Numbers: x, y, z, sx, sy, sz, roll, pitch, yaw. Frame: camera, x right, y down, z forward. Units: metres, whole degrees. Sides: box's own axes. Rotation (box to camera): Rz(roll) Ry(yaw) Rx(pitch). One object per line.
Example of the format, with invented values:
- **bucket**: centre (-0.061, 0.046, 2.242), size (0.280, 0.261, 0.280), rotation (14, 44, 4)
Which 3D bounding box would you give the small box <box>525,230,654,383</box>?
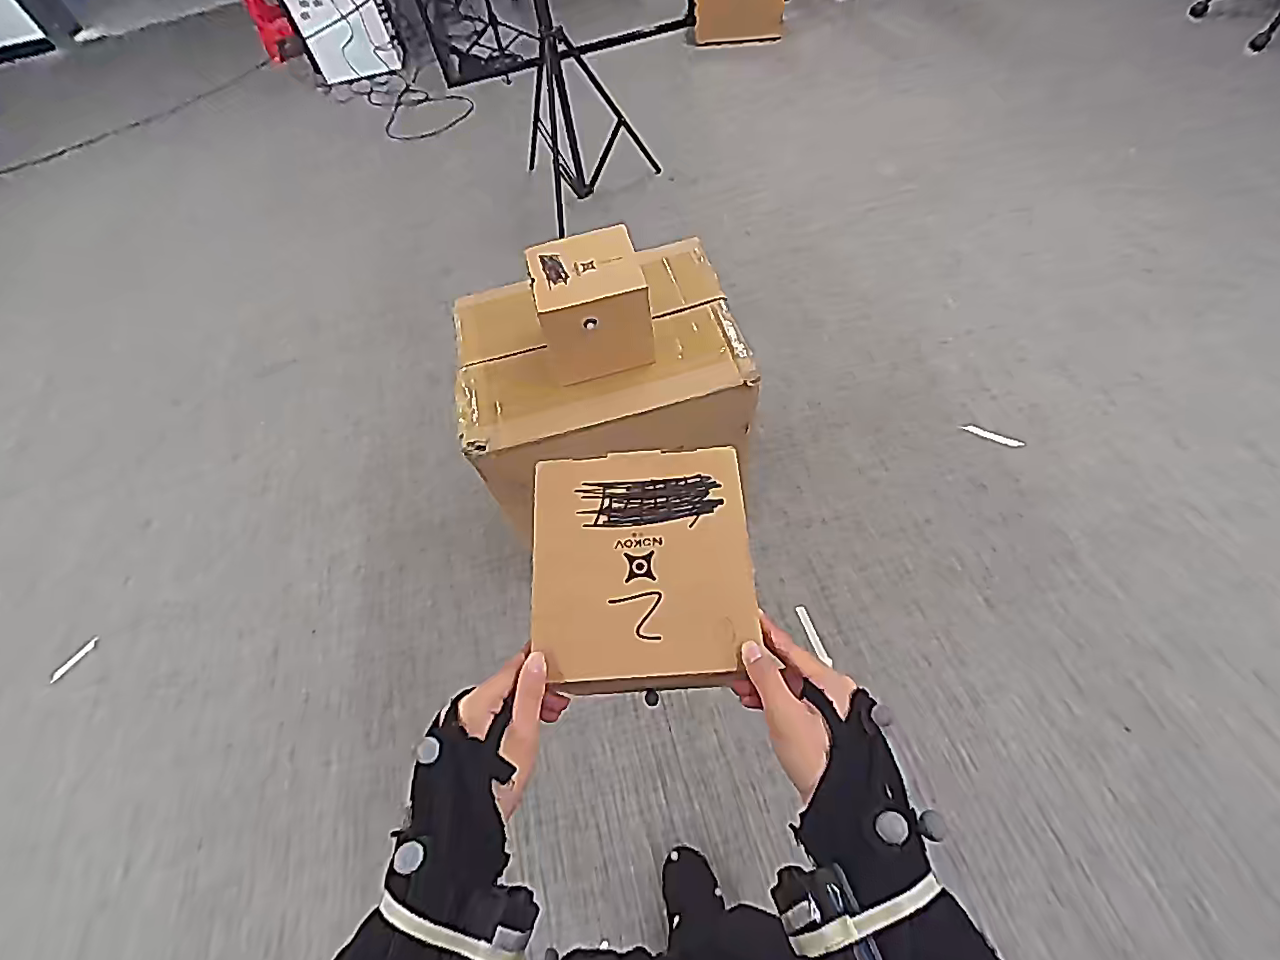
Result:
- **small box**: centre (-0.083, -0.291, 0.931), size (0.179, 0.176, 0.168), rotation (-15, 59, -2)
